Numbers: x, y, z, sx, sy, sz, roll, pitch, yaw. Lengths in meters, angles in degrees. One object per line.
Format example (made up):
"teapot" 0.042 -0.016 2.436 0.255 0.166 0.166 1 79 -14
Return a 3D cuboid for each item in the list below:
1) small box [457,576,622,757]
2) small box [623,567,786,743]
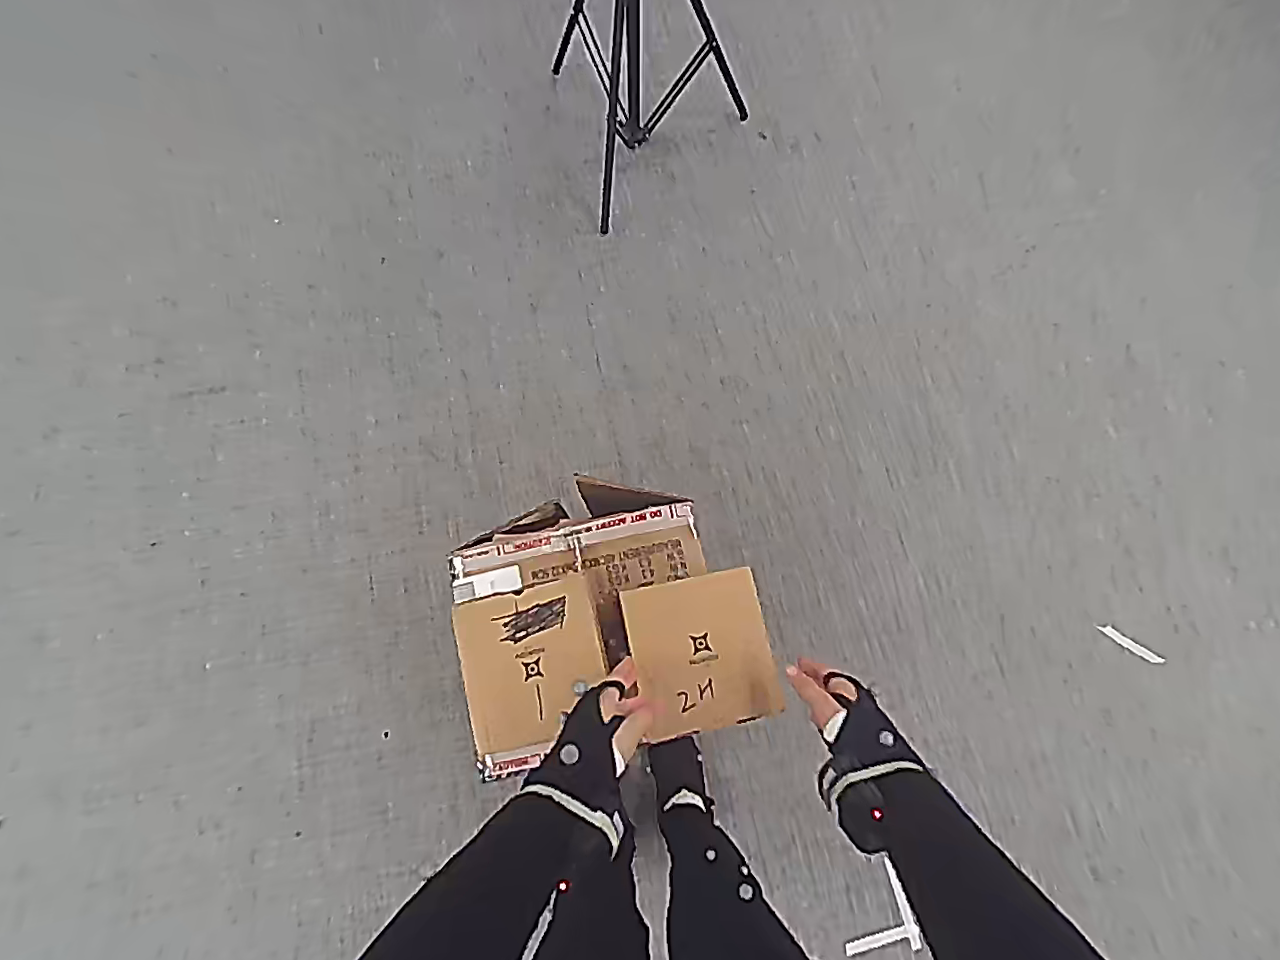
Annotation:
"small box" -0.123 0.233 0.714 0.168 0.176 0.179 -14 80 -3
"small box" 0.071 0.223 0.719 0.168 0.176 0.179 -11 78 -4
